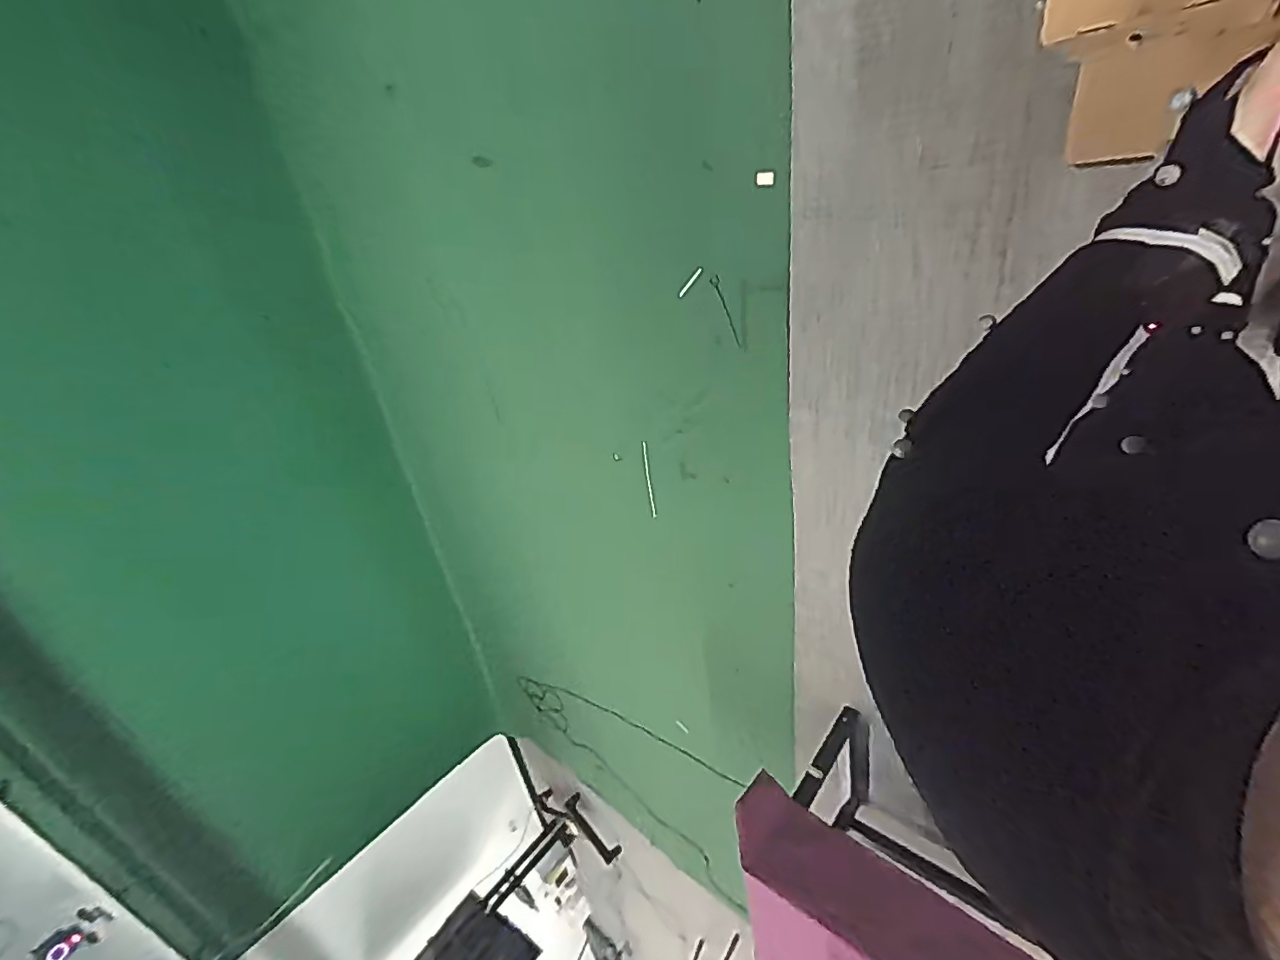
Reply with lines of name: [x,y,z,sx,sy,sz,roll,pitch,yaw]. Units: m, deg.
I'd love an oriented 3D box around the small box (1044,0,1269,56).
small box: [0.518,-0.539,0.518,0.168,0.176,0.179,18,126,39]

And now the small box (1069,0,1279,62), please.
small box: [0.628,-0.605,0.618,0.179,0.176,0.168,16,124,40]
